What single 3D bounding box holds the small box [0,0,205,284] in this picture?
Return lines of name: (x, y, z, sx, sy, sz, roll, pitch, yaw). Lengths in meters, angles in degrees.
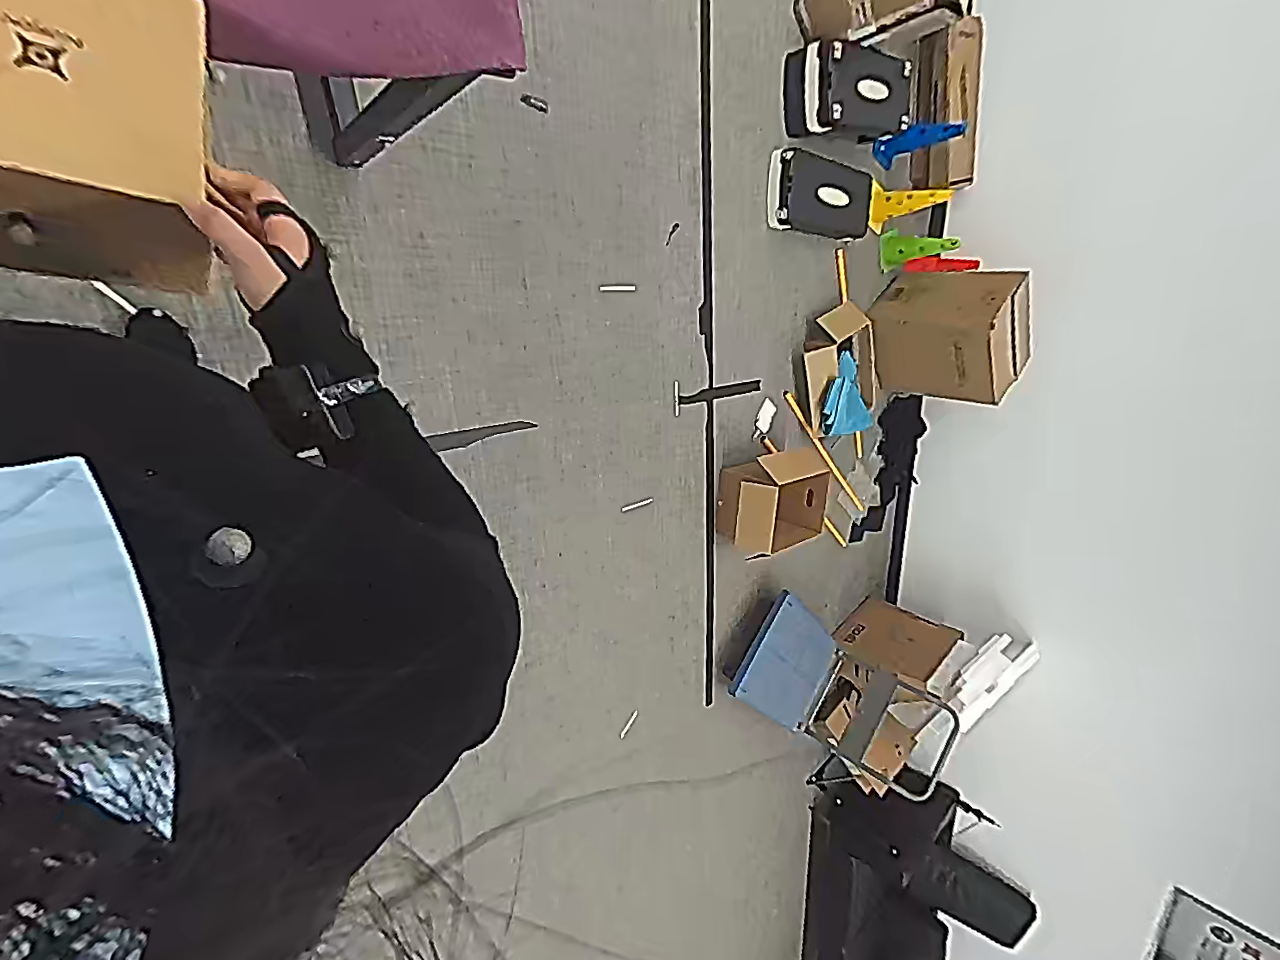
small box: (-0.435, -0.272, 0.406, 0.168, 0.176, 0.179, -1, 84, -38)
